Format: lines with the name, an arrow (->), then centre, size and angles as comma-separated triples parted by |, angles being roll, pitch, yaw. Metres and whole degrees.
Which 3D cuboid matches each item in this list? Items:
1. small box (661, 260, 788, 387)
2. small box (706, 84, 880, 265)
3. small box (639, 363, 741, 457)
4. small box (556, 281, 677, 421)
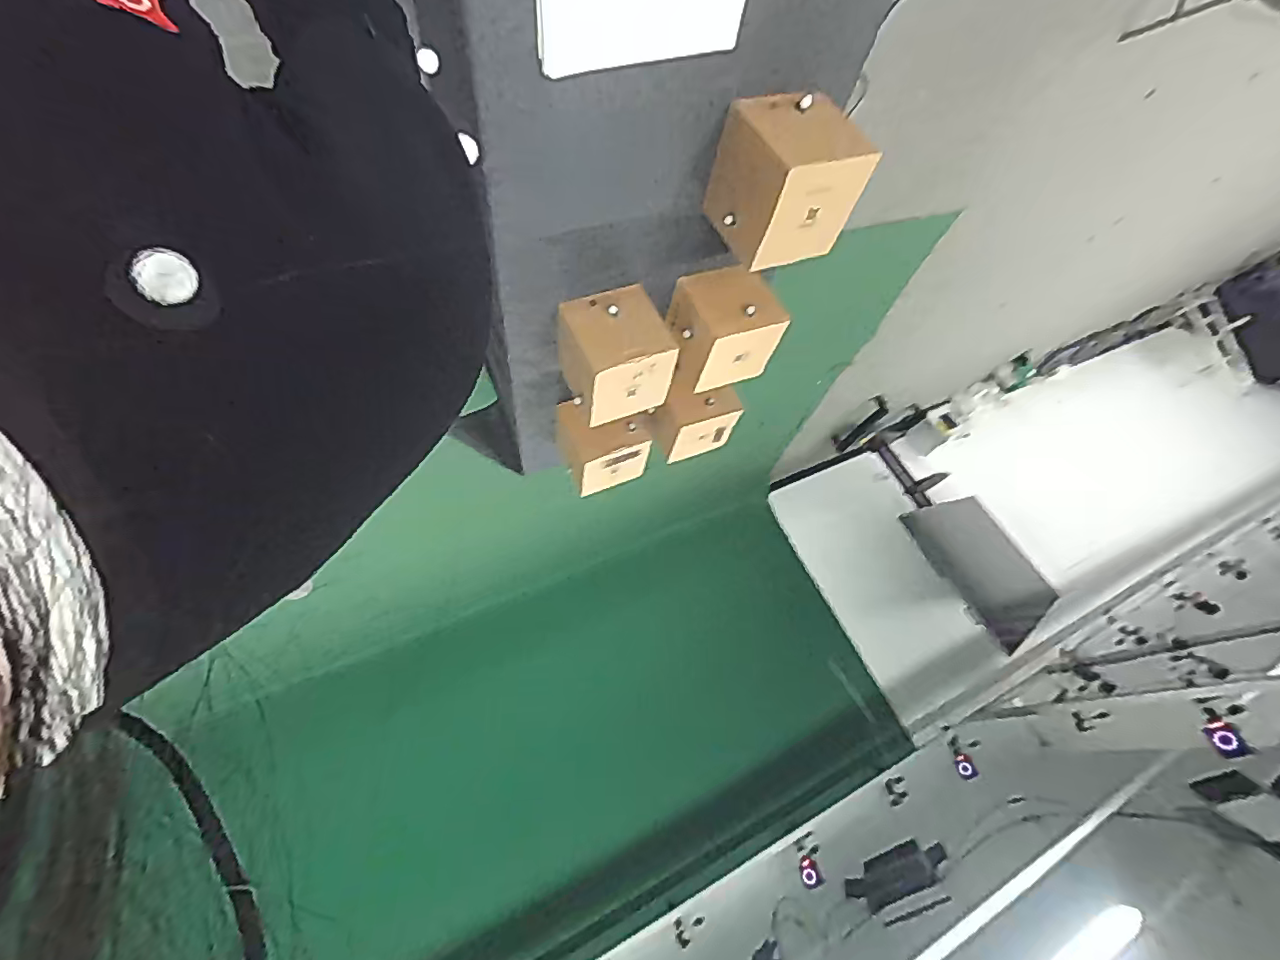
small box -> 0.164, -0.325, 1.118 | 0.179, 0.176, 0.168 | -19, 157, -20
small box -> 0.223, -0.473, 0.843 | 0.168, 0.176, 0.179 | -19, 159, -19
small box -> 0.120, -0.189, 1.370 | 0.179, 0.176, 0.168 | -18, 156, -20
small box -> -0.053, -0.246, 1.035 | 0.168, 0.176, 0.179 | -21, 157, -18
